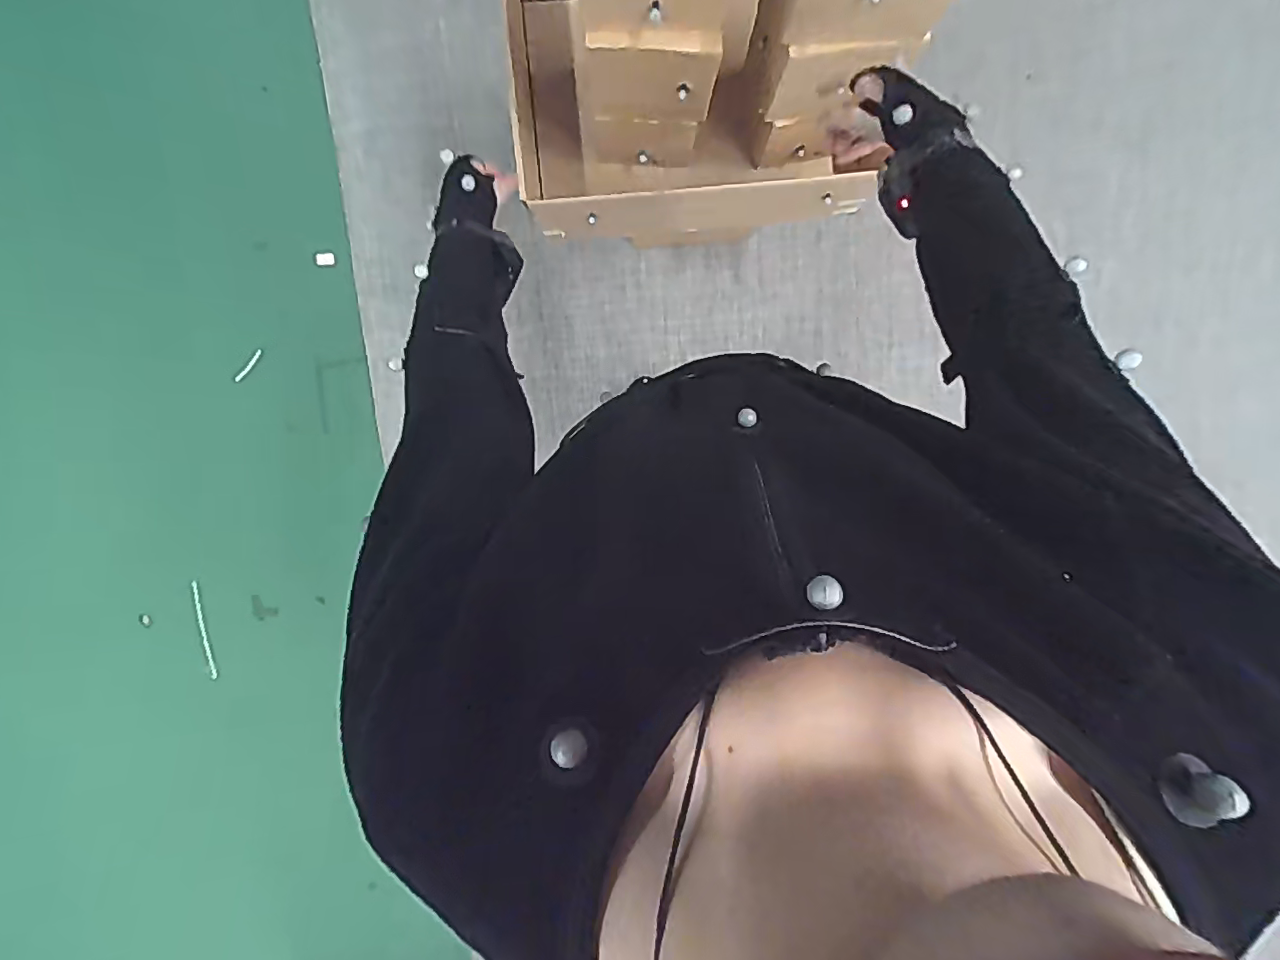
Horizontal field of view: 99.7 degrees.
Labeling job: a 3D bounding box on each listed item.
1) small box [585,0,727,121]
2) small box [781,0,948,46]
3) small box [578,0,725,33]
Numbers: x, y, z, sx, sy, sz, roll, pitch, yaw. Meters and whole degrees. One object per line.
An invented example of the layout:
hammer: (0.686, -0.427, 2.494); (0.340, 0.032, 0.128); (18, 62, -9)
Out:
small box: (0.021, -0.623, 0.743); (0.179, 0.176, 0.168); (3, 97, -1)
small box: (0.256, -0.600, 0.569); (0.179, 0.176, 0.168); (0, 99, 4)
small box: (0.017, -0.623, 0.578); (0.179, 0.176, 0.168); (-1, 97, -2)
